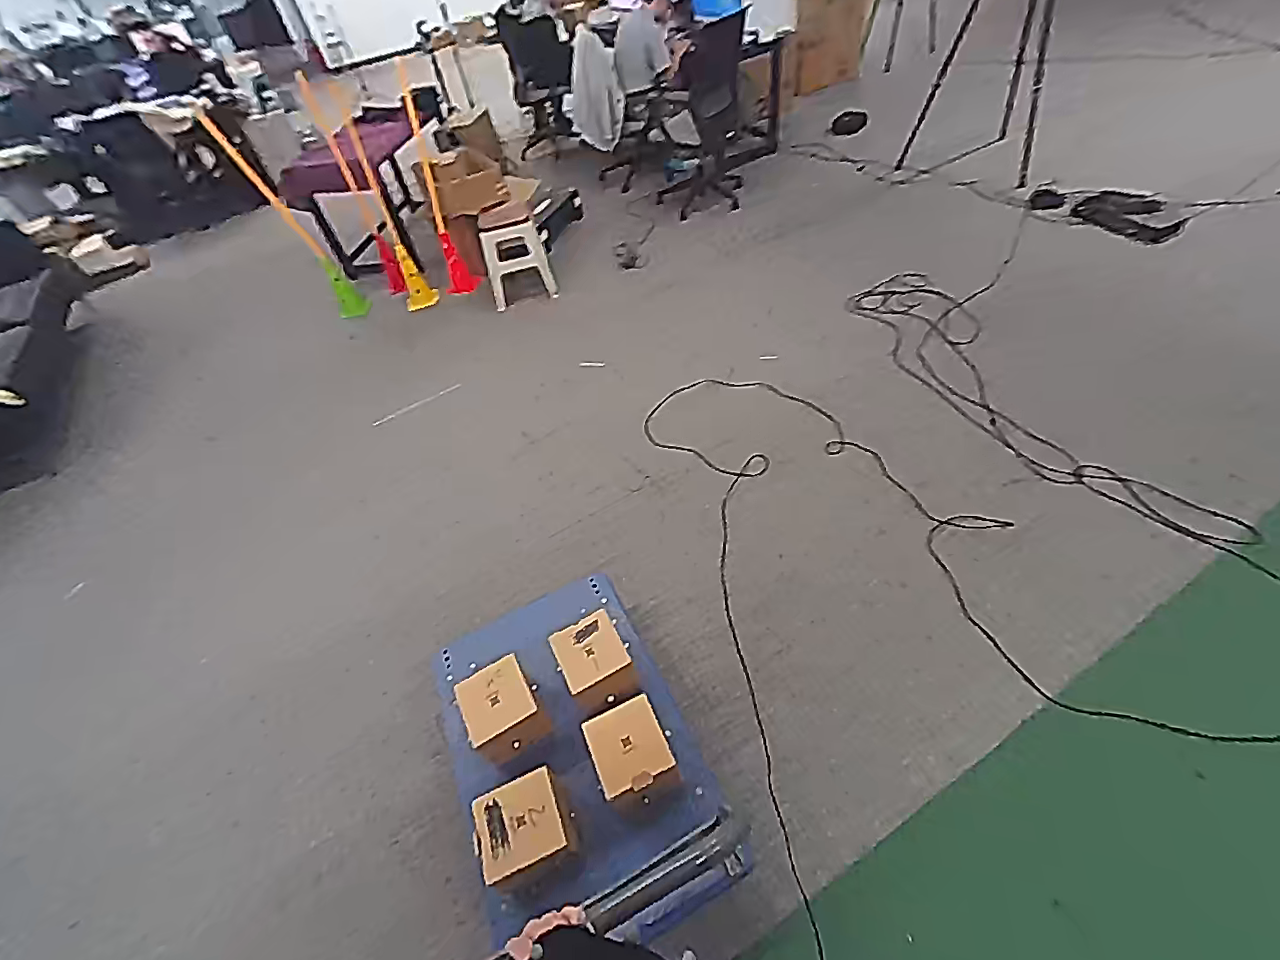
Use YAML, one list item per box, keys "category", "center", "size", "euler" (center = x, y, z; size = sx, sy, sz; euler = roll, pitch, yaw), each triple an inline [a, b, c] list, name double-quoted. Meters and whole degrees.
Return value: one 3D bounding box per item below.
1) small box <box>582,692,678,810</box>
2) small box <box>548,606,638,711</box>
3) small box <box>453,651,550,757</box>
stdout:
- category: "small box"
  center: [-0.021, 0.638, 1.269]
  size: [0.168, 0.176, 0.179]
  euler: [-23, 50, -10]
- category: "small box"
  center: [-0.121, 0.473, 1.428]
  size: [0.168, 0.176, 0.179]
  euler: [-26, 51, -12]
- category: "small box"
  center: [-0.348, 0.578, 1.378]
  size: [0.168, 0.176, 0.179]
  euler: [-27, 50, -14]
